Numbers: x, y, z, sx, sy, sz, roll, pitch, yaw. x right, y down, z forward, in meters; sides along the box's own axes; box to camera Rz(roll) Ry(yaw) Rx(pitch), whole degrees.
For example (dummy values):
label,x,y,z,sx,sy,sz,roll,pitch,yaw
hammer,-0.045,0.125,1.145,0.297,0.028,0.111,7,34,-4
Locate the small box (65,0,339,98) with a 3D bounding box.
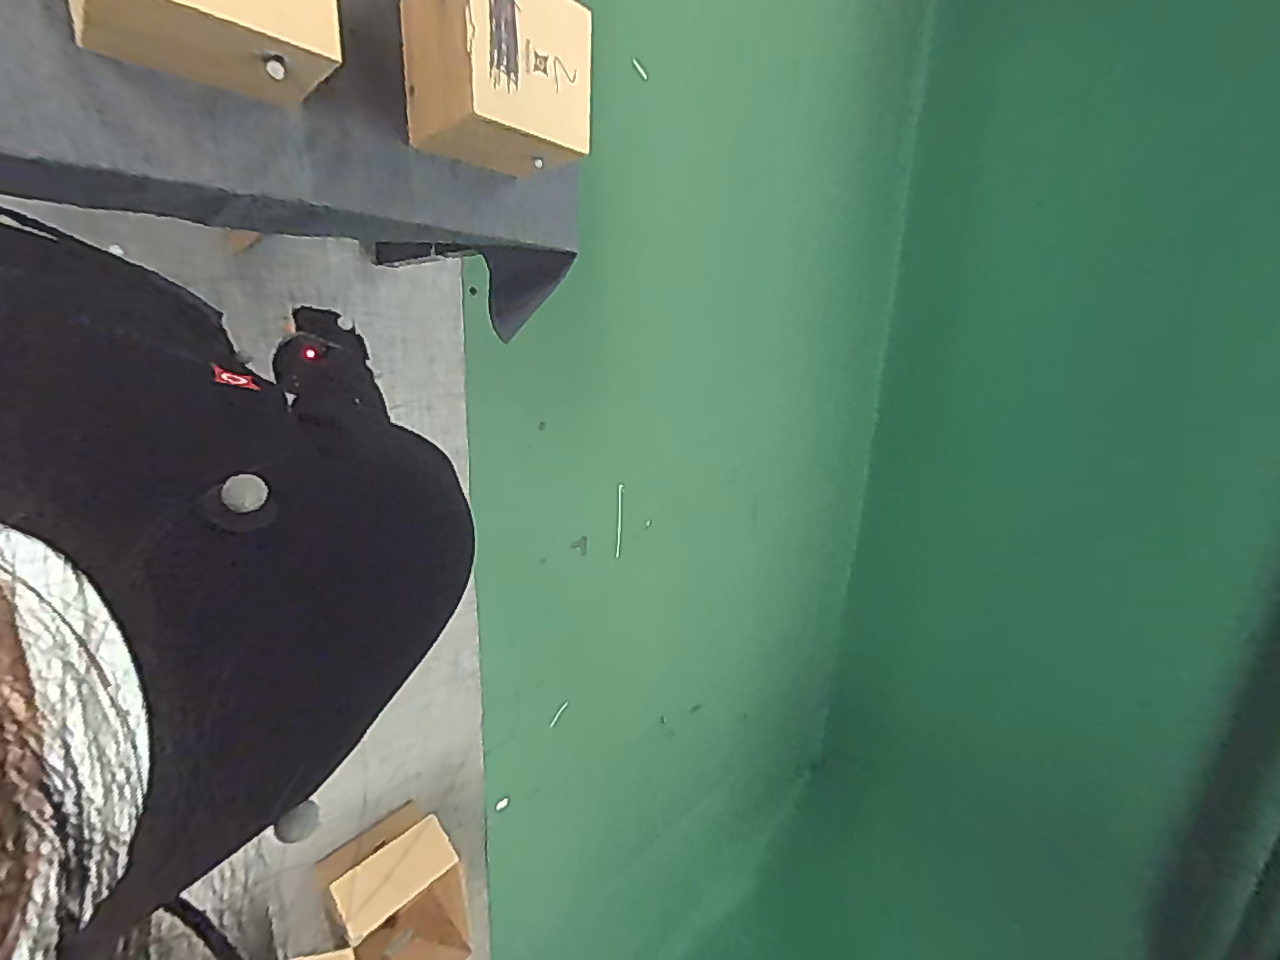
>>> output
label,x,y,z,sx,sy,sz,roll,pitch,yaw
small box,-0.398,-0.475,0.484,0.179,0.176,0.168,-12,109,-44
